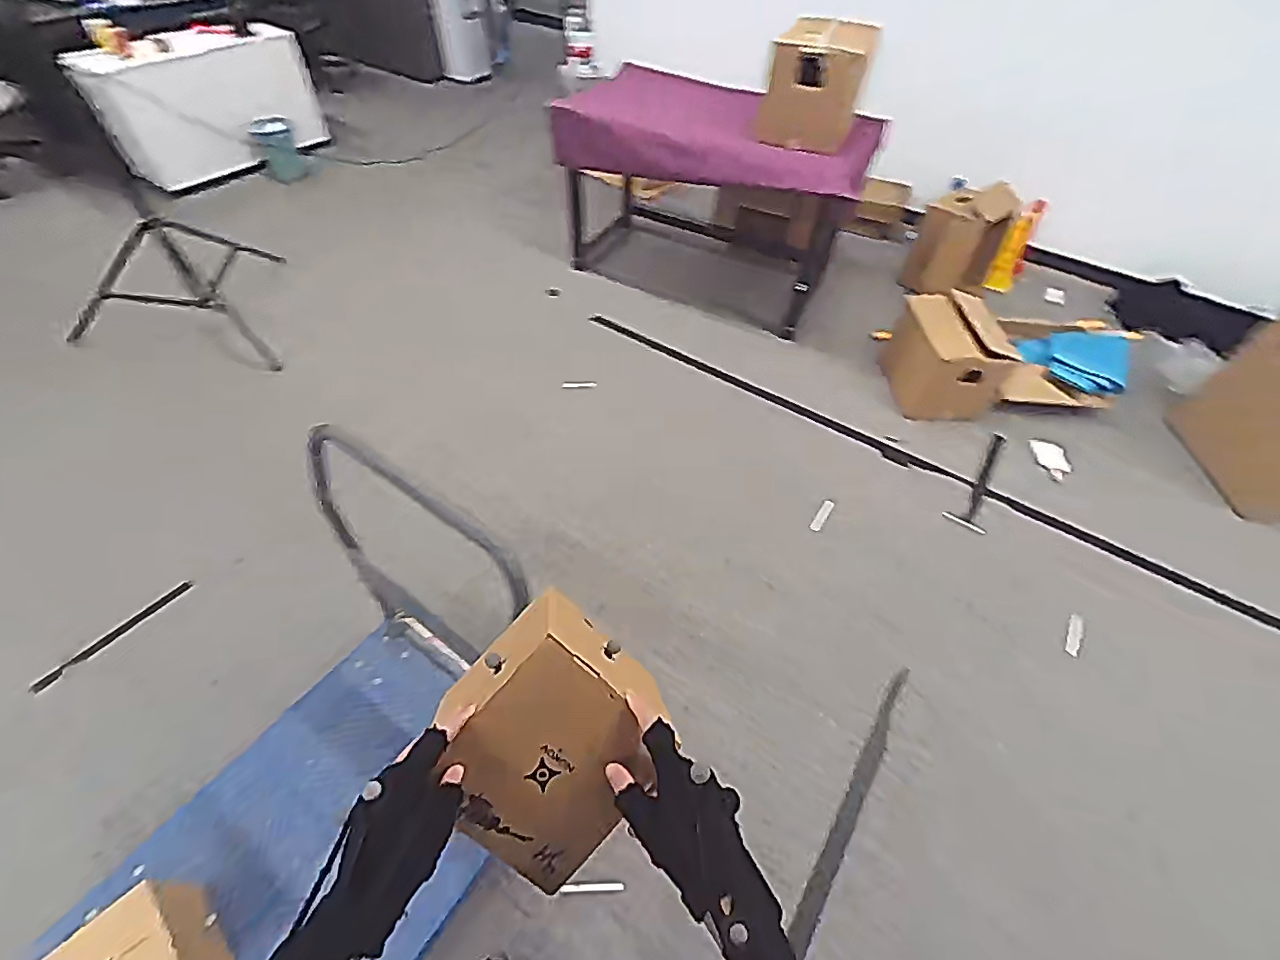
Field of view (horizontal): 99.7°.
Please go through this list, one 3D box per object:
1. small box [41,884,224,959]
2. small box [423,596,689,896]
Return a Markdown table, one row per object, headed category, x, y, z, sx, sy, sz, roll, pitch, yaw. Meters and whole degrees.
| category | x | y | z | sx | sy | sz | roll | pitch | yaw |
| --- | --- | --- | --- | --- | --- | --- | --- | --- | --- |
| small box | -0.841 | 0.816 | 0.887 | 0.168 | 0.176 | 0.179 | 38 | 57 | 25 |
| small box | -0.083 | 0.244 | 0.547 | 0.168 | 0.176 | 0.179 | 44 | 85 | -8 |
